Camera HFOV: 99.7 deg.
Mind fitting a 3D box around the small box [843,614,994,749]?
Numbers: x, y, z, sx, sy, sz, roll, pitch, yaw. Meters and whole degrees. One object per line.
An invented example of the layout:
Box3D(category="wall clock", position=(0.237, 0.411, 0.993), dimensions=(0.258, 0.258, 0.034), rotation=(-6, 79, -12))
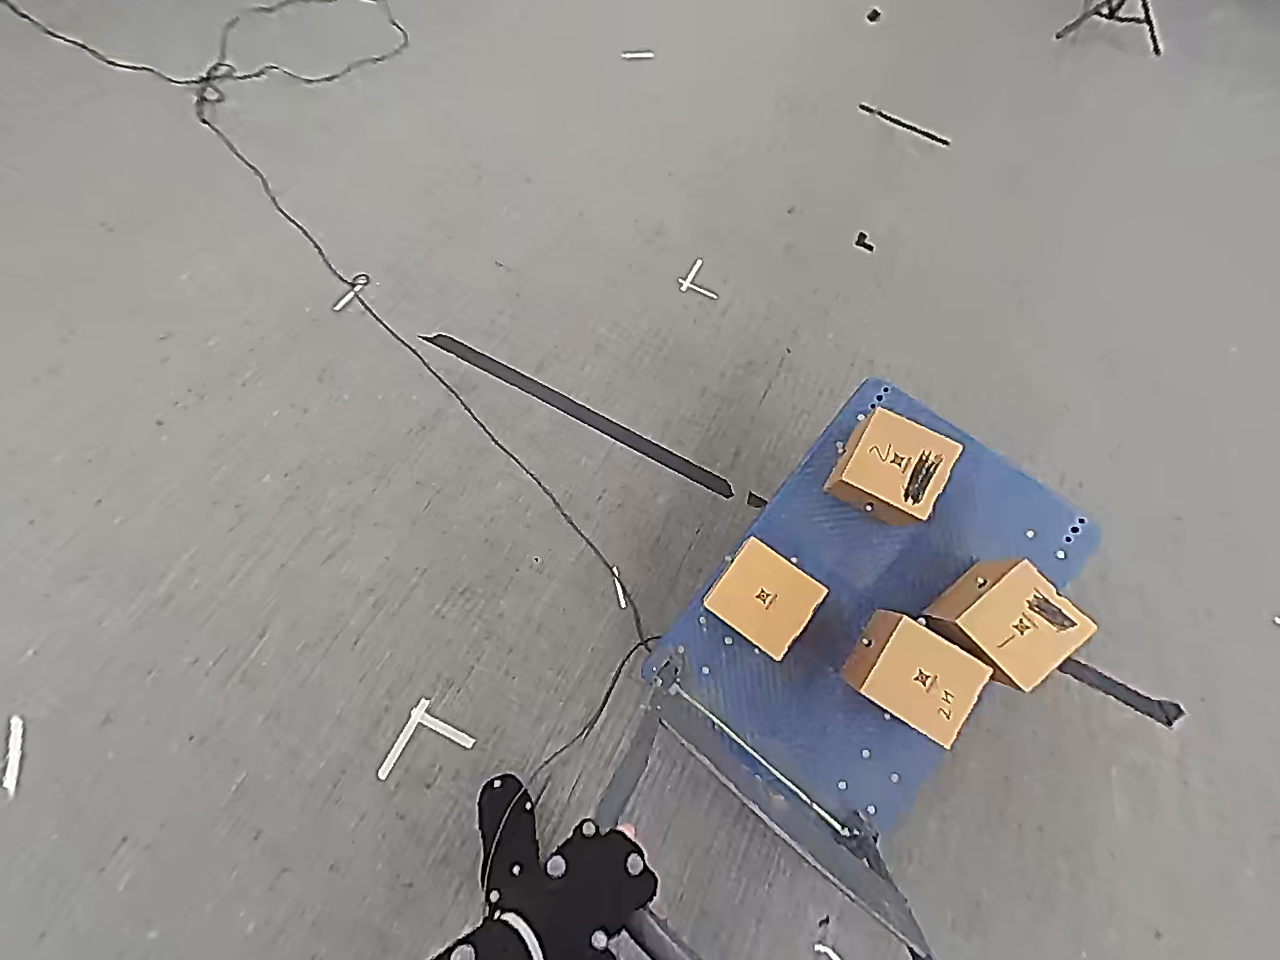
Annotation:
Box3D(category="small box", position=(0.520, 0.373, 1.041), dimensions=(0.179, 0.176, 0.168), rotation=(33, 87, 11))

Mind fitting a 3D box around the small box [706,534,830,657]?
Box3D(category="small box", position=(0.248, 0.231, 1.100), dimensions=(0.179, 0.176, 0.168), rotation=(37, 87, 10))

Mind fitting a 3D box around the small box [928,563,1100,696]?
Box3D(category="small box", position=(0.697, 0.274, 1.034), dimensions=(0.179, 0.176, 0.168), rotation=(-41, 78, 0))
